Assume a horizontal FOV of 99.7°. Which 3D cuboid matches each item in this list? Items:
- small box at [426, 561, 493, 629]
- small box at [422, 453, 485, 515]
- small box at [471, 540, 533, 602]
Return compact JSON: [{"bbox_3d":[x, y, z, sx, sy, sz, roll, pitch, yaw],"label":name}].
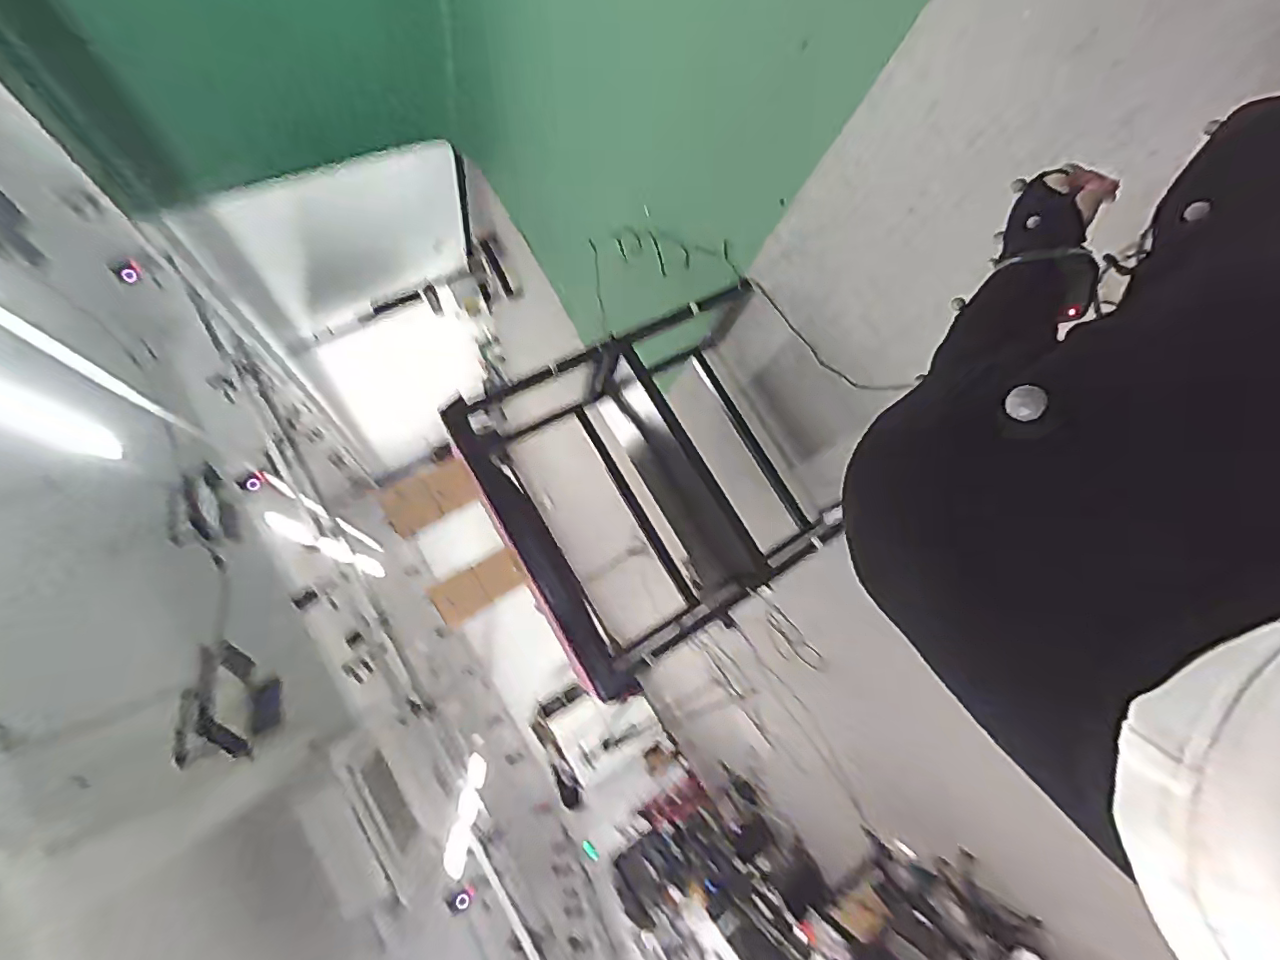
[{"bbox_3d":[-0.645,0.416,1.959,0.179,0.176,0.168,59,162,5],"label":"small box"},{"bbox_3d":[-0.706,0.016,2.067,0.168,0.176,0.179,59,161,3],"label":"small box"},{"bbox_3d":[-0.510,0.339,2.015,0.168,0.176,0.179,59,161,4],"label":"small box"}]
